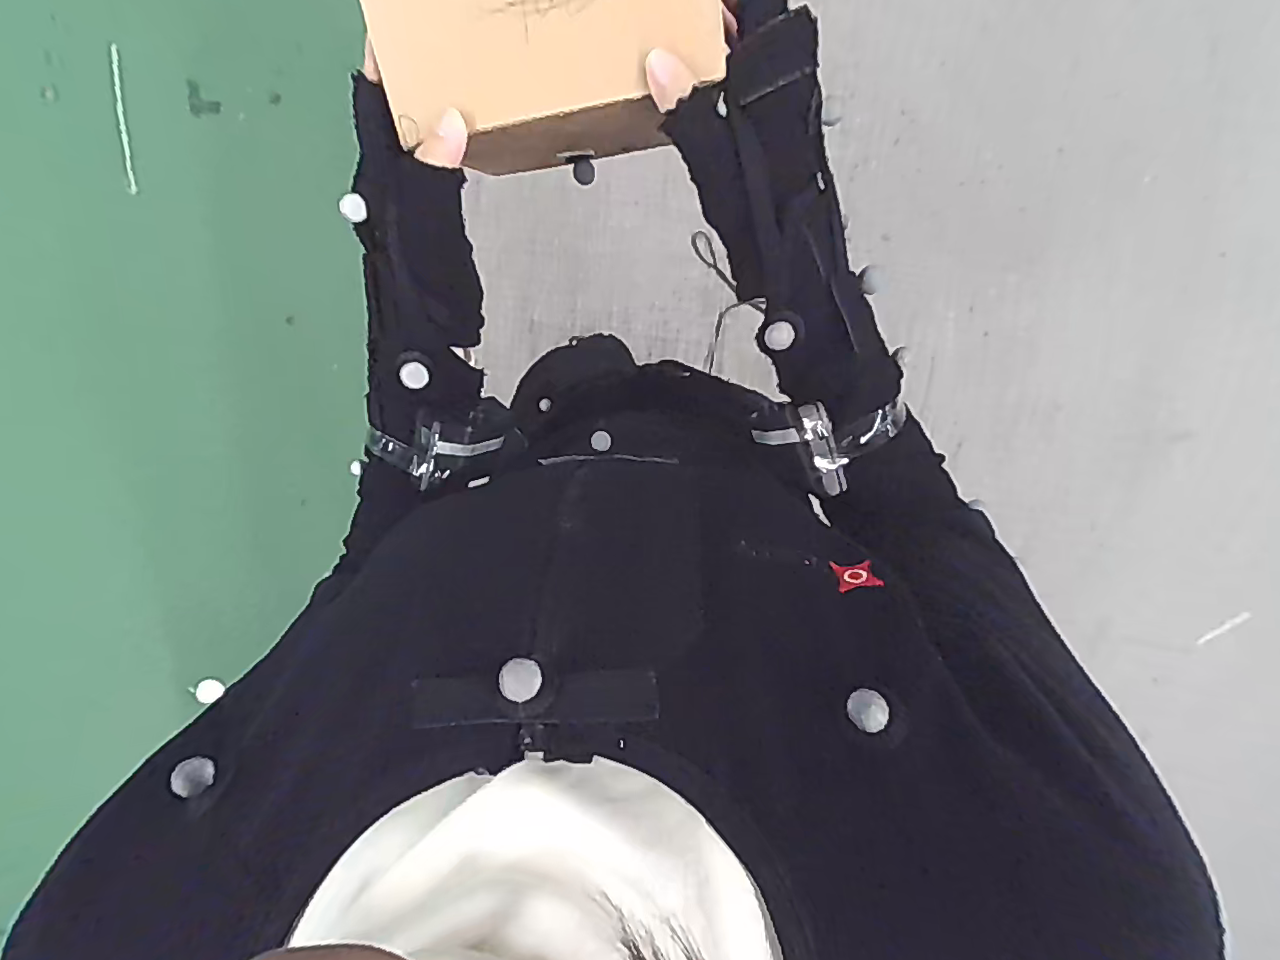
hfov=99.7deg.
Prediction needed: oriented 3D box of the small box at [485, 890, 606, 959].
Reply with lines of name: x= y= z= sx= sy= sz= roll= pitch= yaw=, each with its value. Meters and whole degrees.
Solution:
small box: x=-0.151 y=0.787 z=0.845 sx=0.179 sy=0.176 sz=0.168 roll=5 pitch=107 yaw=5

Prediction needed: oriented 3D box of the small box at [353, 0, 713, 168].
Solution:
small box: x=-0.050 y=-0.293 z=0.302 sx=0.168 sy=0.176 sz=0.179 roll=-5 pitch=114 yaw=8
